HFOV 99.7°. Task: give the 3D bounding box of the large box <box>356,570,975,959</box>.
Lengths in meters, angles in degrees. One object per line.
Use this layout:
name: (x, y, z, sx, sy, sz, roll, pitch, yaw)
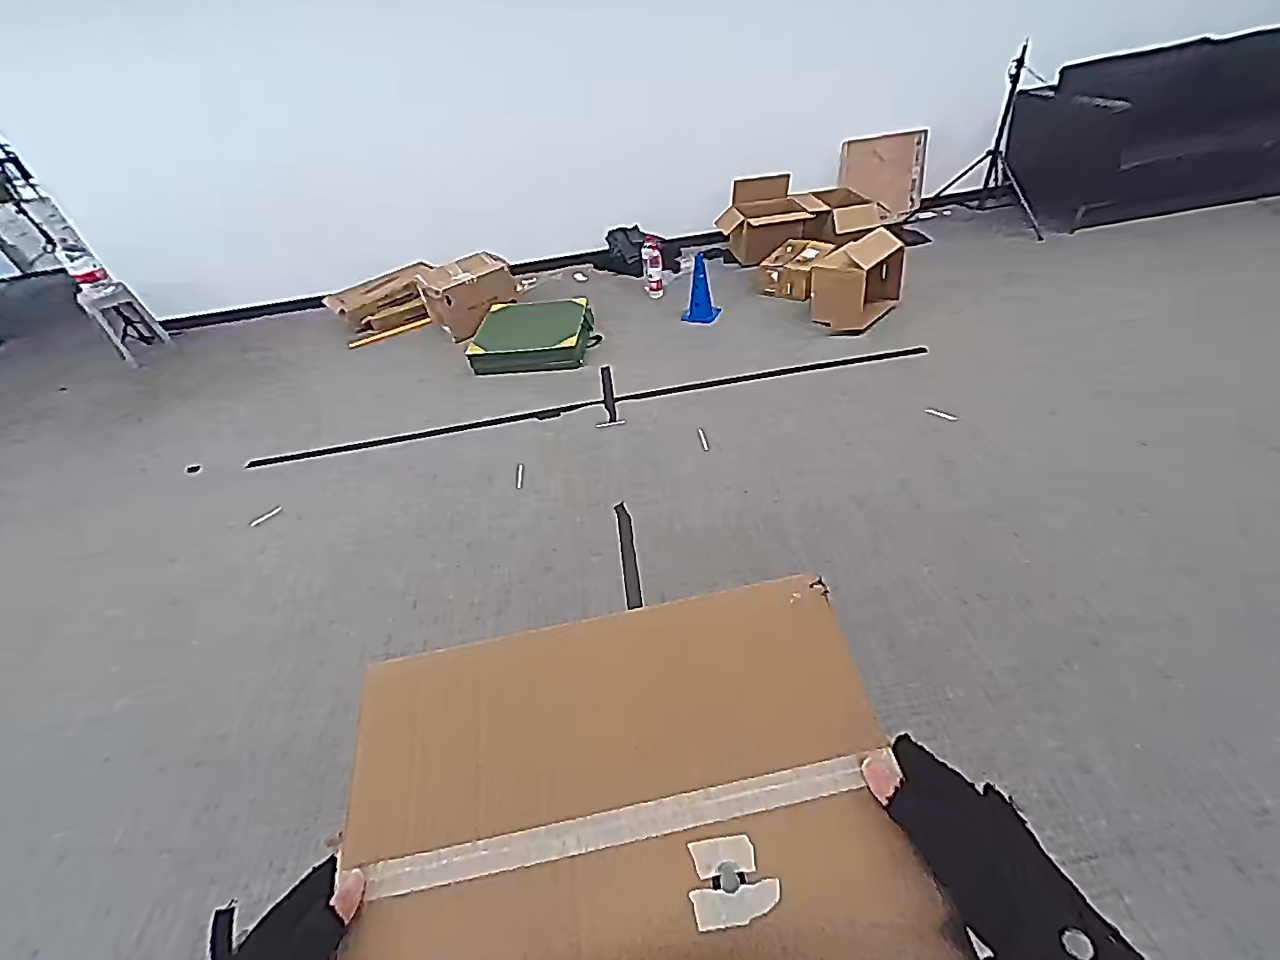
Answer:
large box: (0.003, 0.330, 0.524, 0.408, 0.320, 0.320, -11, 55, -3)
